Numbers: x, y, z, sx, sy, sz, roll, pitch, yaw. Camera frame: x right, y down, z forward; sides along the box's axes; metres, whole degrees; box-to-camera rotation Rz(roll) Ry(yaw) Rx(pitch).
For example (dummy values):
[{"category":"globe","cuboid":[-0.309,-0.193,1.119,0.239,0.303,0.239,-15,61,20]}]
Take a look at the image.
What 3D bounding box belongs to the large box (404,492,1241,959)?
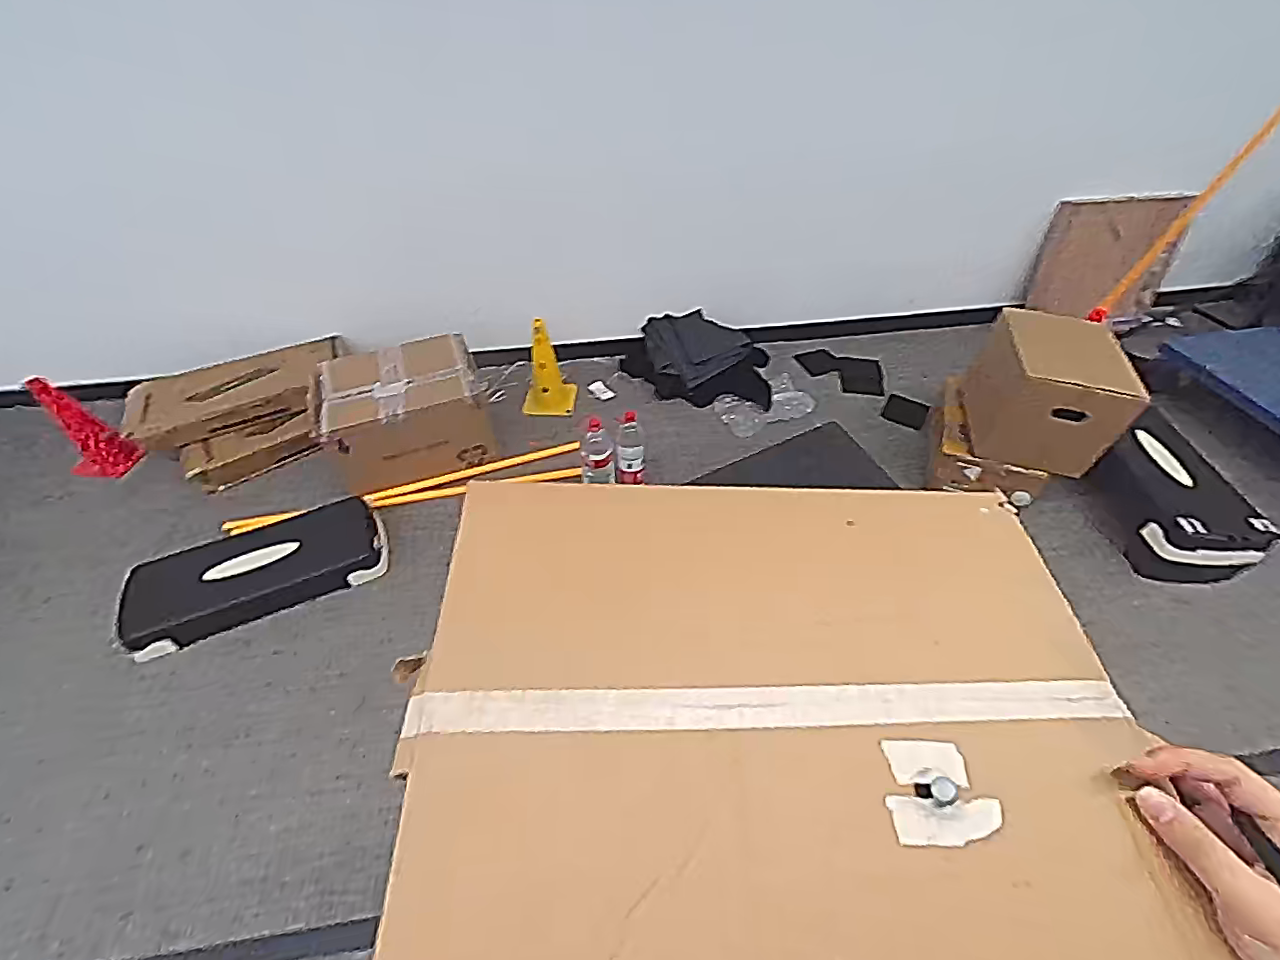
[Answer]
[{"category":"large box","cuboid":[0.073,0.225,0.432,0.408,0.320,0.320,2,53,-6]}]
